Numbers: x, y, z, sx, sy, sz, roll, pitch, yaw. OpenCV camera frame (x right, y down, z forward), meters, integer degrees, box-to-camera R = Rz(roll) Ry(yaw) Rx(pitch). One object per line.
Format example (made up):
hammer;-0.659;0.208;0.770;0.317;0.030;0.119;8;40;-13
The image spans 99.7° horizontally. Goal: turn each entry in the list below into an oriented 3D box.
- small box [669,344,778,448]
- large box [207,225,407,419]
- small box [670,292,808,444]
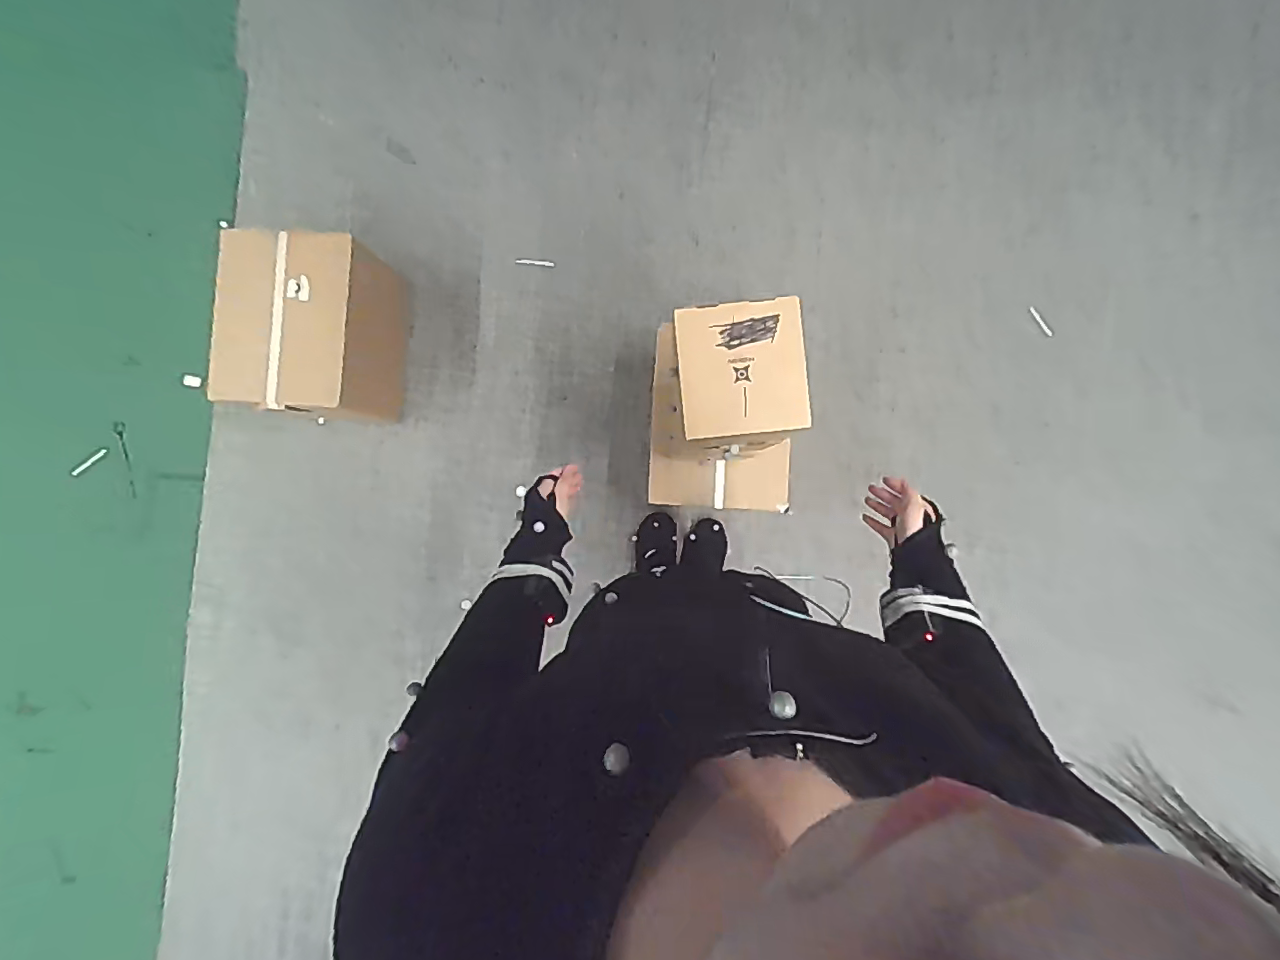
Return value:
small box;0.140;-0.148;0.944;0.168;0.176;0.179;-5;91;3
large box;-0.820;-0.376;1.376;0.320;0.320;0.408;3;89;2
small box;0.132;-0.150;0.779;0.168;0.176;0.179;-6;90;3
